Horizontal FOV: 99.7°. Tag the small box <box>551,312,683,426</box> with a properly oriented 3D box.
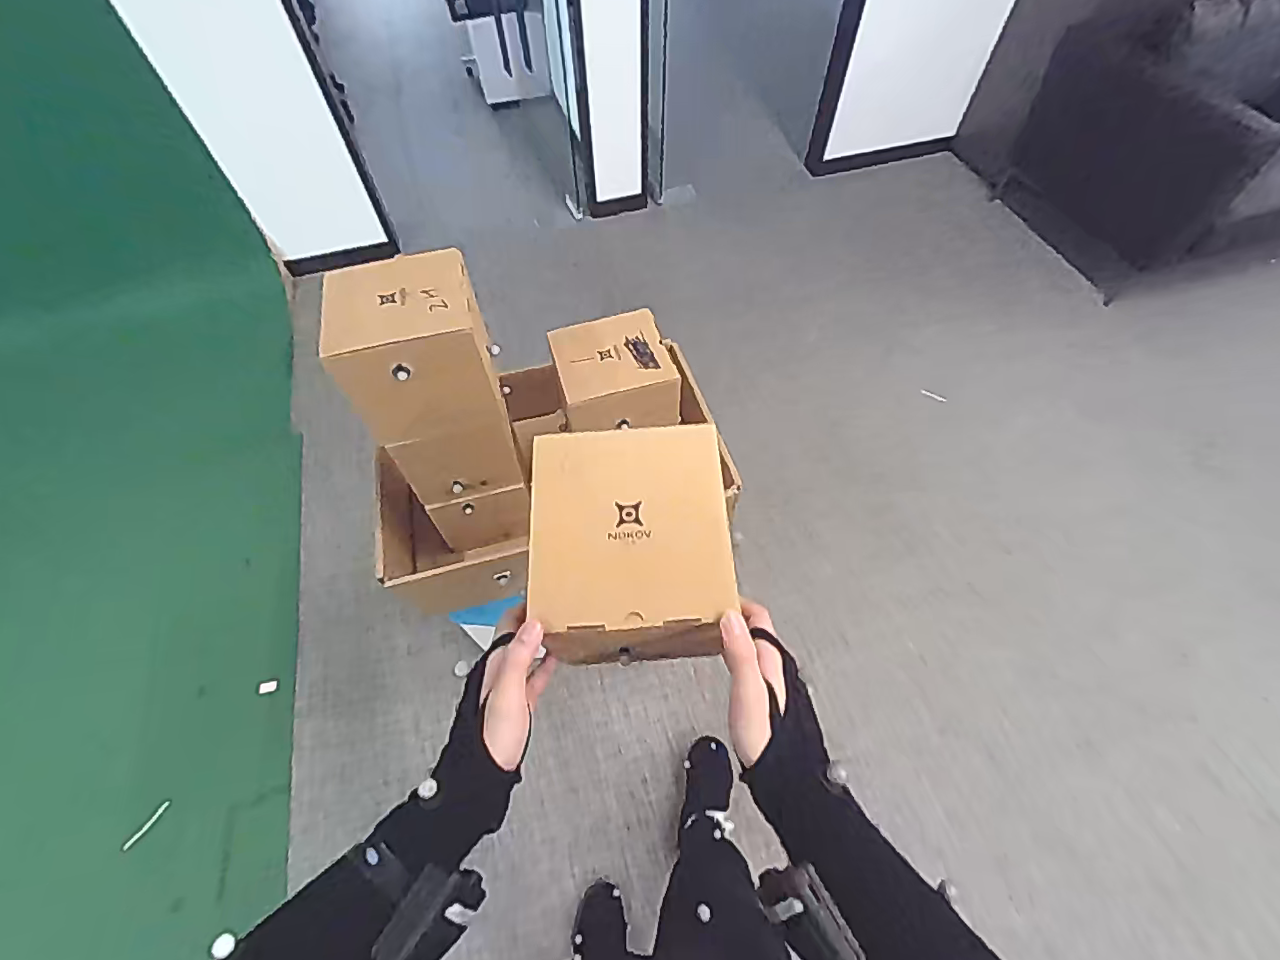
[{"bbox_3d":[-0.037,-0.145,0.901,0.179,0.176,0.168,-15,57,-7],"label":"small box"}]

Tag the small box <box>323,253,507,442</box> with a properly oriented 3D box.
[{"bbox_3d":[-0.294,-0.172,0.731,0.179,0.176,0.168,-14,57,-8],"label":"small box"}]

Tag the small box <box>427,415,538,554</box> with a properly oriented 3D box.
[{"bbox_3d":[-0.288,0.010,1.002,0.168,0.176,0.179,-14,57,-8],"label":"small box"}]

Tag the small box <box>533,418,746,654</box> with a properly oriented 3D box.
[{"bbox_3d":[-0.002,0.061,0.519,0.168,0.176,0.179,-4,65,0],"label":"small box"}]

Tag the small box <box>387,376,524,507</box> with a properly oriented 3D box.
[{"bbox_3d":[-0.293,-0.084,0.870,0.168,0.176,0.179,-14,57,-8],"label":"small box"}]
